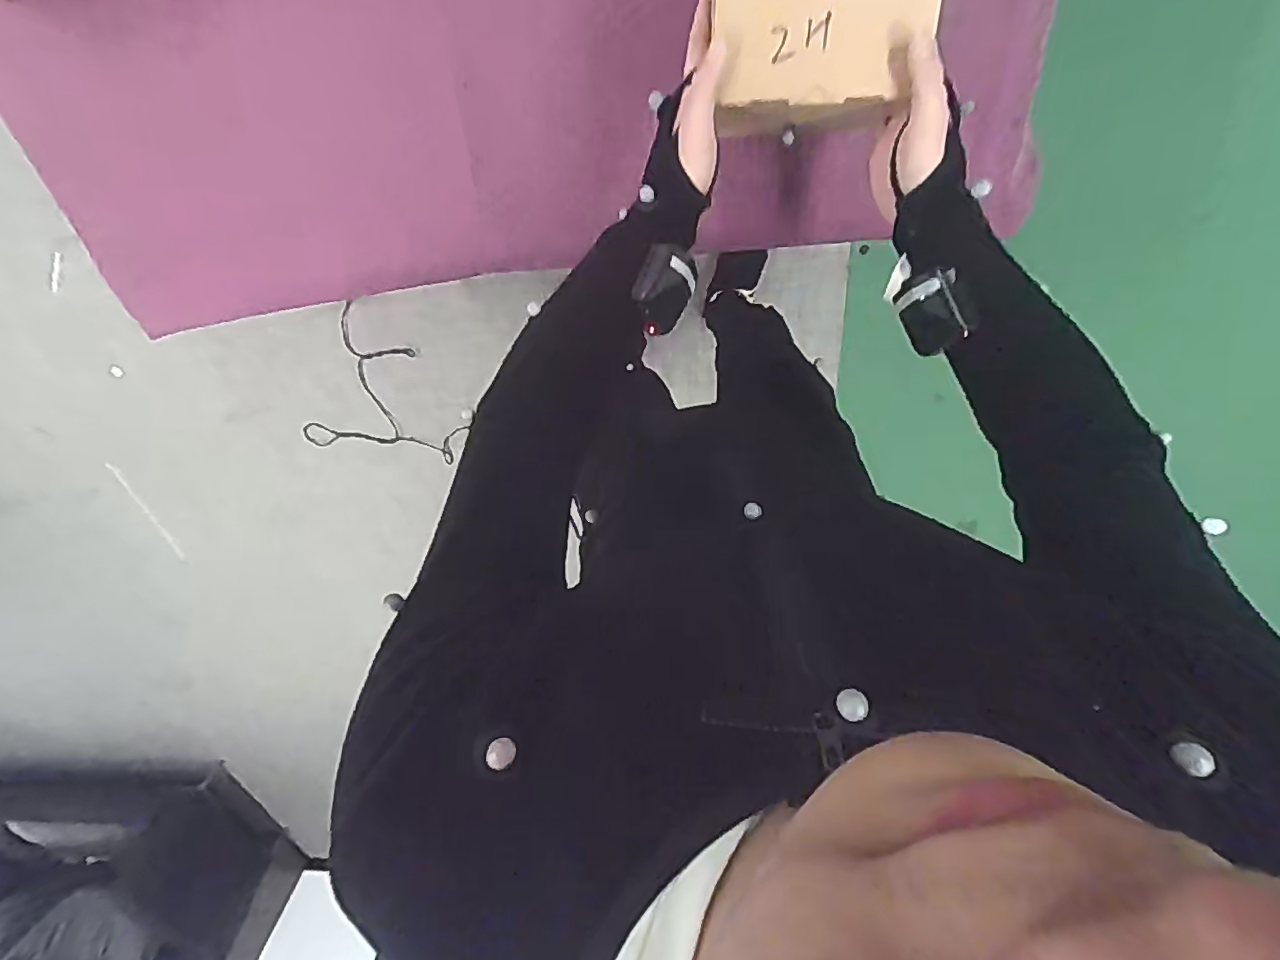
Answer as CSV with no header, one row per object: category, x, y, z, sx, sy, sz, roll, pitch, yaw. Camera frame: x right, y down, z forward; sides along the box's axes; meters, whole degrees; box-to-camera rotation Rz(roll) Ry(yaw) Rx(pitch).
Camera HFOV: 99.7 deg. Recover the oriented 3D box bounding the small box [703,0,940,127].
small box,0.140,-0.413,0.451,0.168,0.176,0.179,1,116,5
